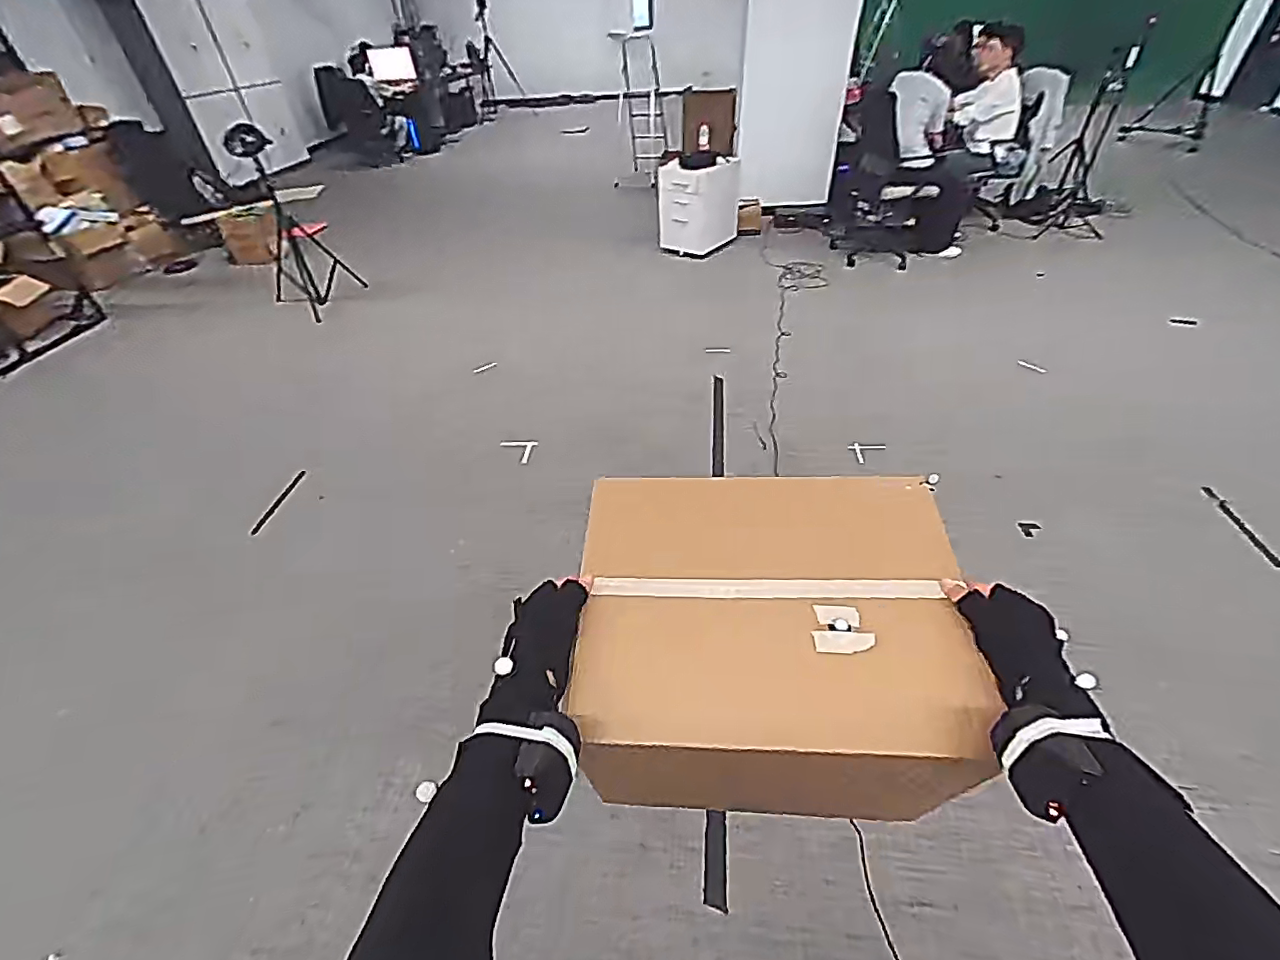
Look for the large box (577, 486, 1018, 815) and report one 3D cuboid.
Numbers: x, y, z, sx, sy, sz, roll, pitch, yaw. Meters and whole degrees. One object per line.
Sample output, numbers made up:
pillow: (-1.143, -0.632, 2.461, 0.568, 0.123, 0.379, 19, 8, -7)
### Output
large box: (0.153, 0.221, 0.697, 0.408, 0.320, 0.320, 0, 50, 6)
